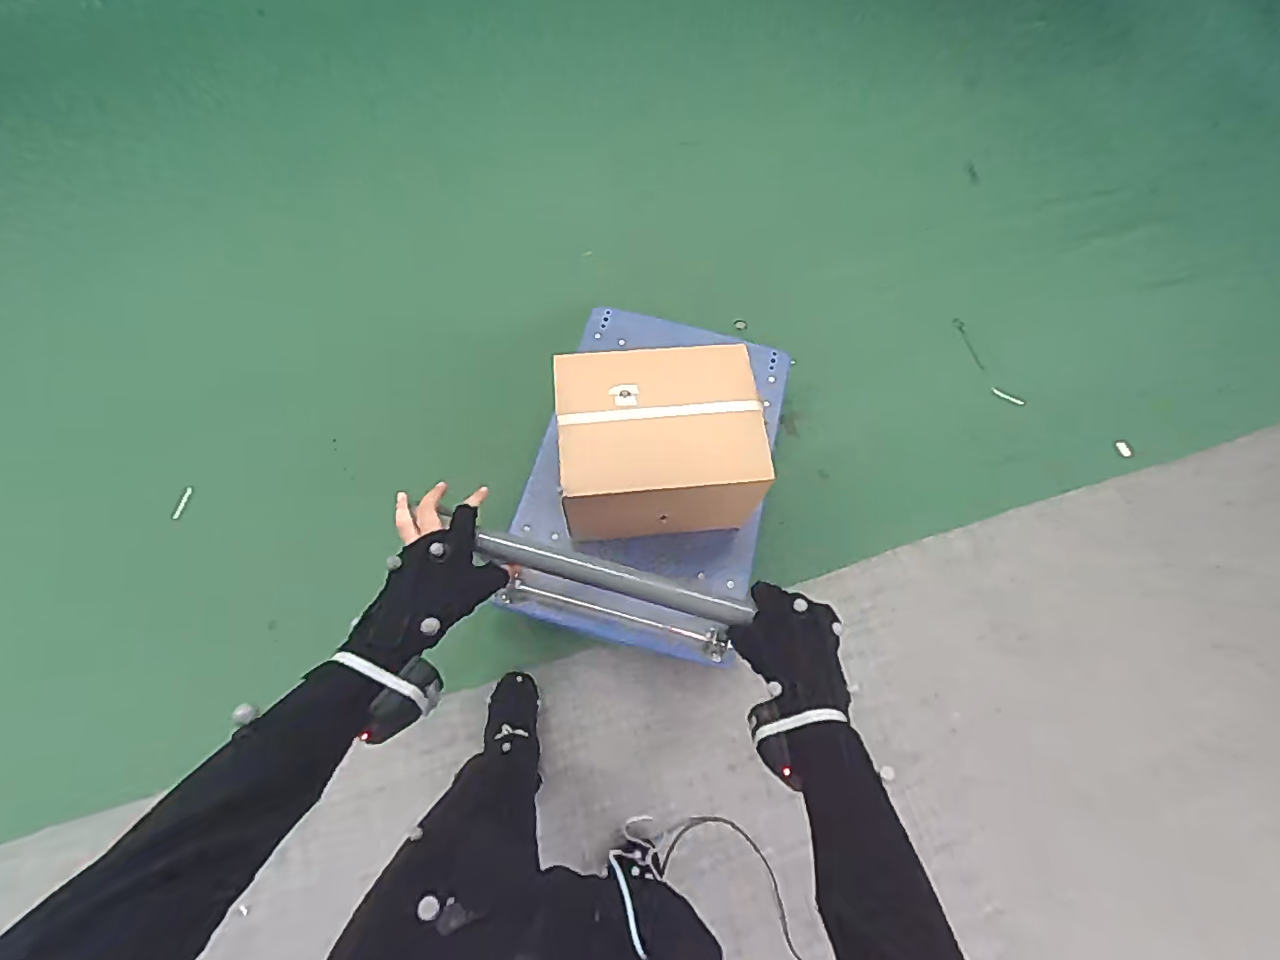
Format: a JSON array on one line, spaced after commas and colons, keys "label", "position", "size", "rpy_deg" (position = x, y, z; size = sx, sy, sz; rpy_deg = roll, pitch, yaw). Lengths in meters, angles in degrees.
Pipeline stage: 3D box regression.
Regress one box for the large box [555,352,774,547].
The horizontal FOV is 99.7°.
[{"label": "large box", "position": [0.037, -0.054, 1.199], "size": [0.408, 0.320, 0.320], "rpy_deg": [-5, 67, -4]}]
